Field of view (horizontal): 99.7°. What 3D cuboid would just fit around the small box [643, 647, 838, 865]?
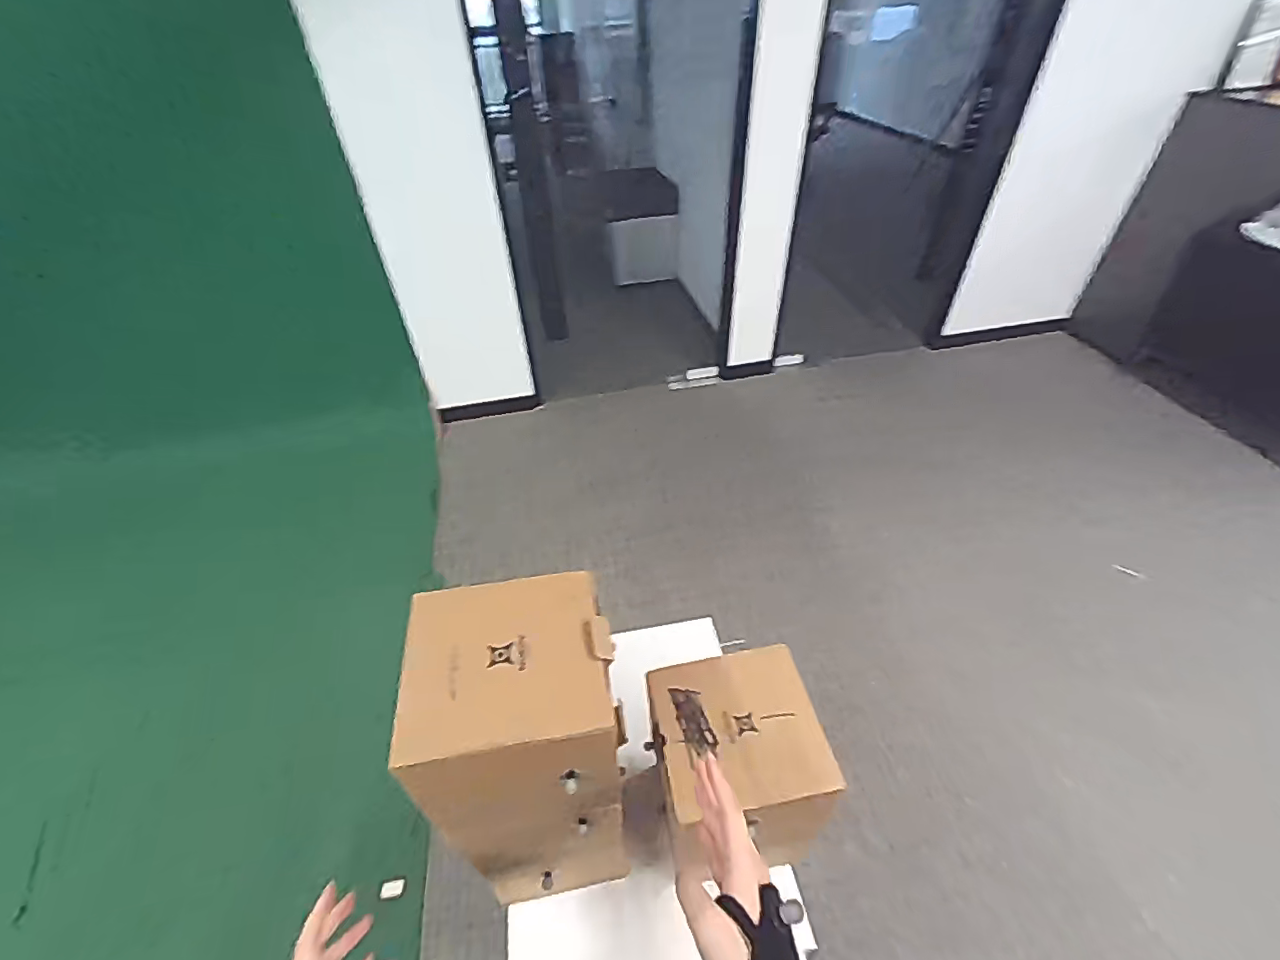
[{"bbox_3d":[0.106,0.329,0.644,0.179,0.176,0.168,-8,42,-7],"label":"small box"}]

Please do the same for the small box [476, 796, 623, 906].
[{"bbox_3d":[-0.122,0.460,0.752,0.179,0.176,0.168,-7,42,-9],"label":"small box"}]

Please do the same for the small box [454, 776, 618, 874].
[{"bbox_3d":[-0.122,0.339,0.642,0.179,0.176,0.168,-5,41,-8],"label":"small box"}]

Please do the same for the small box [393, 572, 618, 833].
[{"bbox_3d":[-0.119,0.217,0.534,0.179,0.176,0.168,-7,40,-9],"label":"small box"}]
